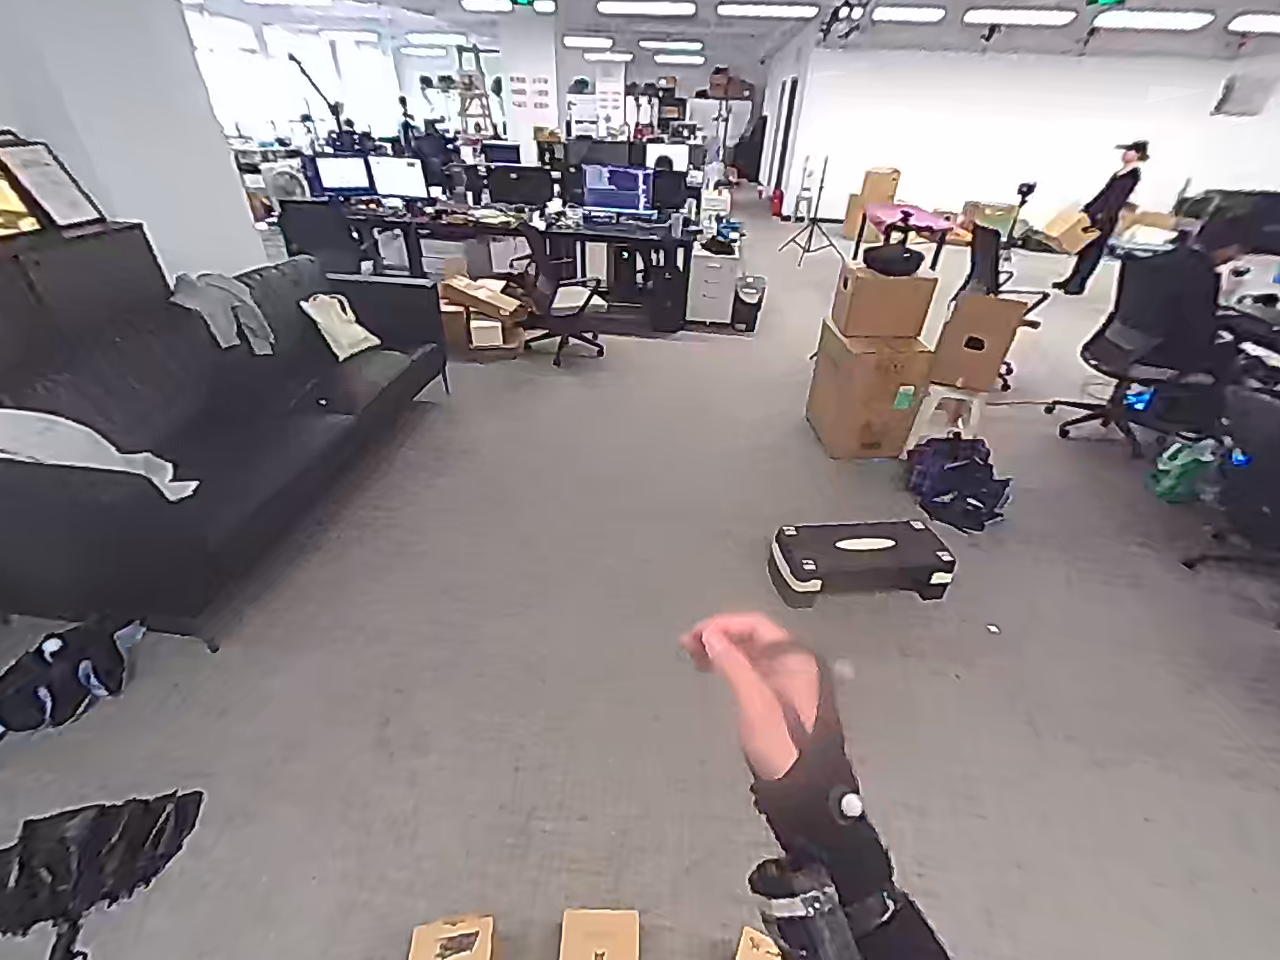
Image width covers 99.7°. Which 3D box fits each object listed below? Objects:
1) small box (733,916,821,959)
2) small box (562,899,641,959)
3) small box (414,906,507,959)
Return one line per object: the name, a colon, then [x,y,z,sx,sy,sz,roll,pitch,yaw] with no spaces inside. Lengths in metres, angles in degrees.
small box: [0.265,1.071,1.121,0.168,0.176,0.179,16,38,20]
small box: [-0.081,1.037,1.160,0.168,0.176,0.179,2,34,-2]
small box: [-0.378,1.039,1.138,0.168,0.176,0.179,-2,36,-6]
